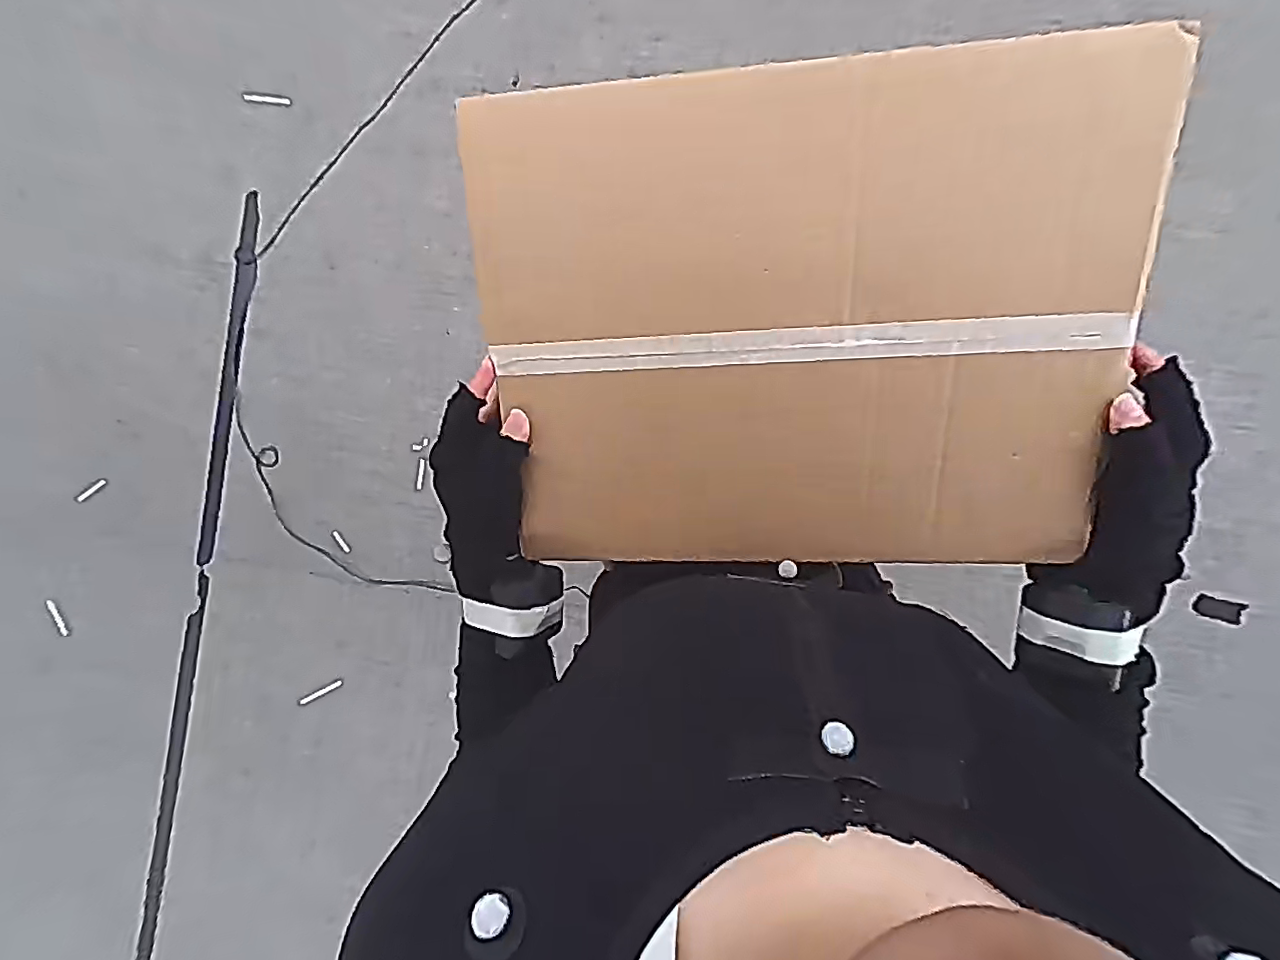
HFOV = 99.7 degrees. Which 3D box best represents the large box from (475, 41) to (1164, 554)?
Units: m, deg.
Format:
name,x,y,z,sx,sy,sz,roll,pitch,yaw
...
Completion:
name,x,y,z,sx,sy,sz,roll,pitch,yaw
large box,0.113,-0.136,0.504,0.408,0.320,0.320,0,109,7
